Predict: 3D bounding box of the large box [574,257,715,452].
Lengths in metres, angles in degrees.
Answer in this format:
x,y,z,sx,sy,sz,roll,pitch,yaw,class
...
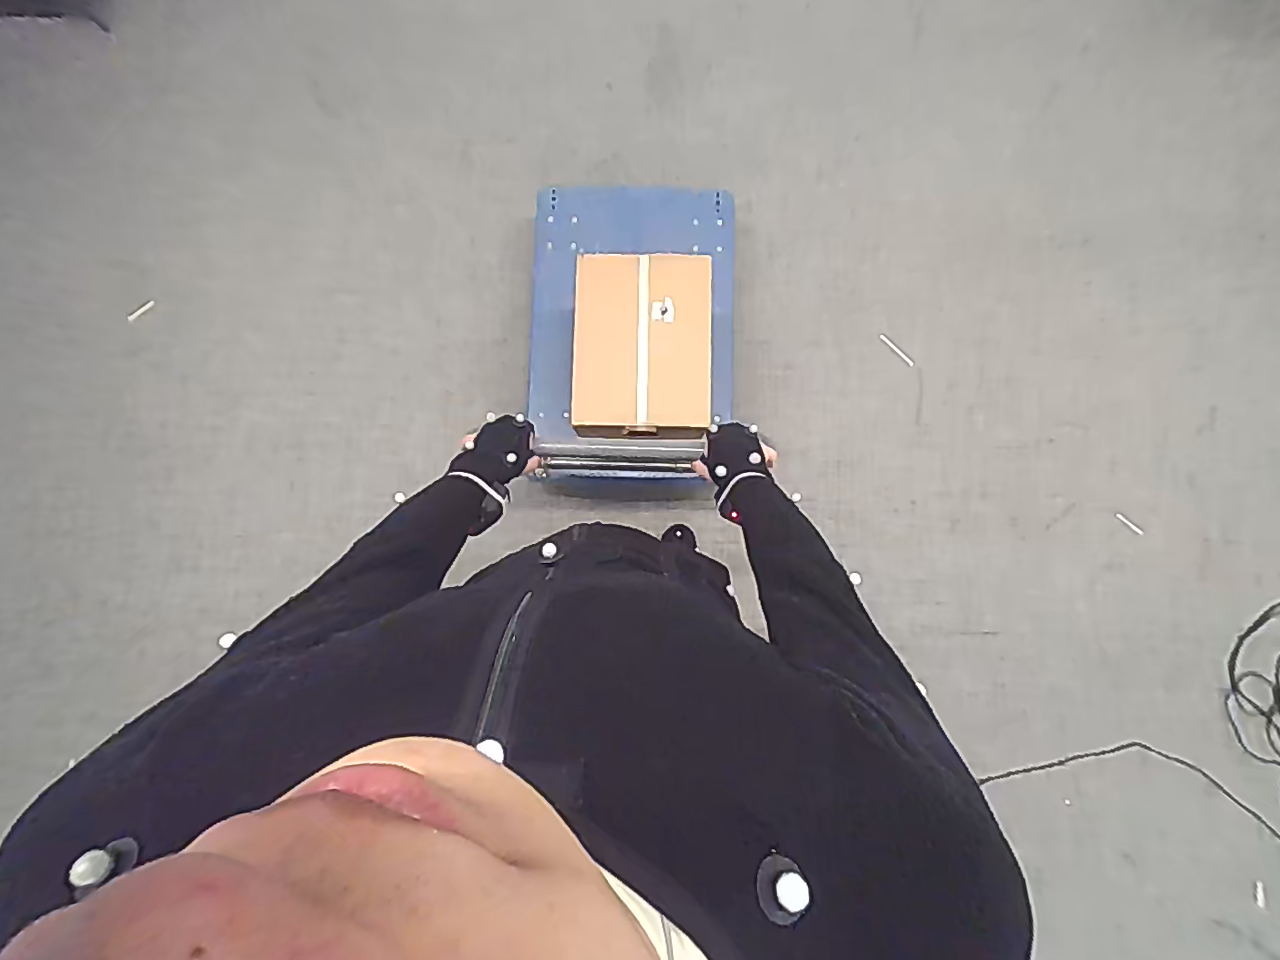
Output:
x,y,z,sx,sy,sz,roll,pitch,yaw,class
0.012,-0.291,1.357,0.320,0.320,0.408,1,83,0,large box
